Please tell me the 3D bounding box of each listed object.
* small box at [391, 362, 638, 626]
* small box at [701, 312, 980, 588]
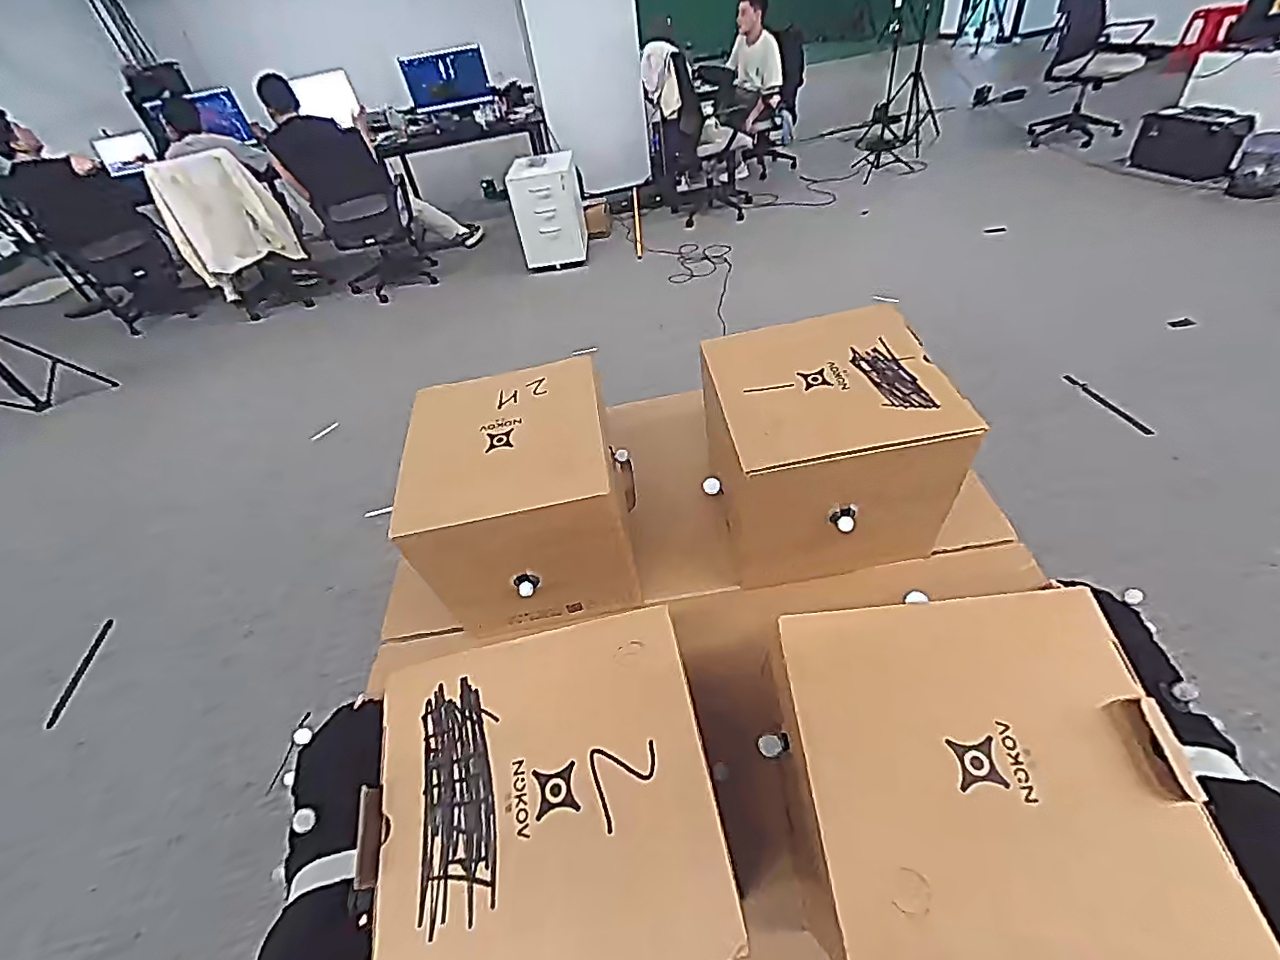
[{"bbox_3d":[-0.101,0.021,0.506,0.168,0.176,0.179,-11,47,2],"label":"small box"},{"bbox_3d":[0.158,-0.022,0.492,0.179,0.176,0.168,-10,48,3],"label":"small box"}]
